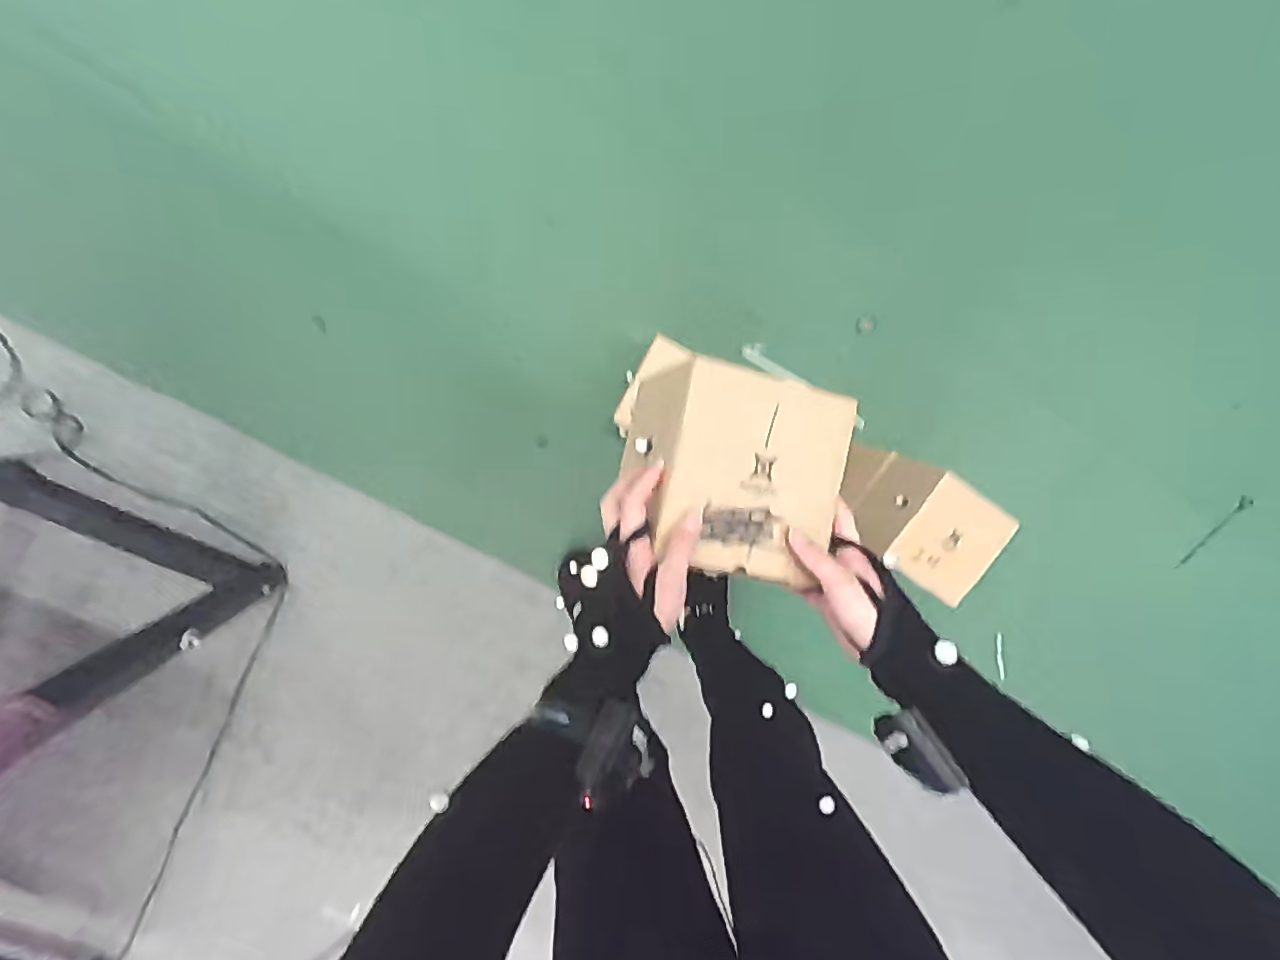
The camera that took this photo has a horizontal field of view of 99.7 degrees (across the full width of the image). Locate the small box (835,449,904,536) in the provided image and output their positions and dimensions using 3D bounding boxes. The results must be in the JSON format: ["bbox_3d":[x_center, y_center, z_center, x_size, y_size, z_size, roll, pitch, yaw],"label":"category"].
[{"bbox_3d":[0.492,0.053,1.123,0.168,0.176,0.179,32,98,-9],"label":"small box"}]

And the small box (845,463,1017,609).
[{"bbox_3d":[0.502,0.089,0.963,0.168,0.176,0.179,34,98,-9],"label":"small box"}]

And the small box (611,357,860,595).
[{"bbox_3d":[0.079,-0.003,0.532,0.168,0.176,0.179,12,89,-18],"label":"small box"}]
